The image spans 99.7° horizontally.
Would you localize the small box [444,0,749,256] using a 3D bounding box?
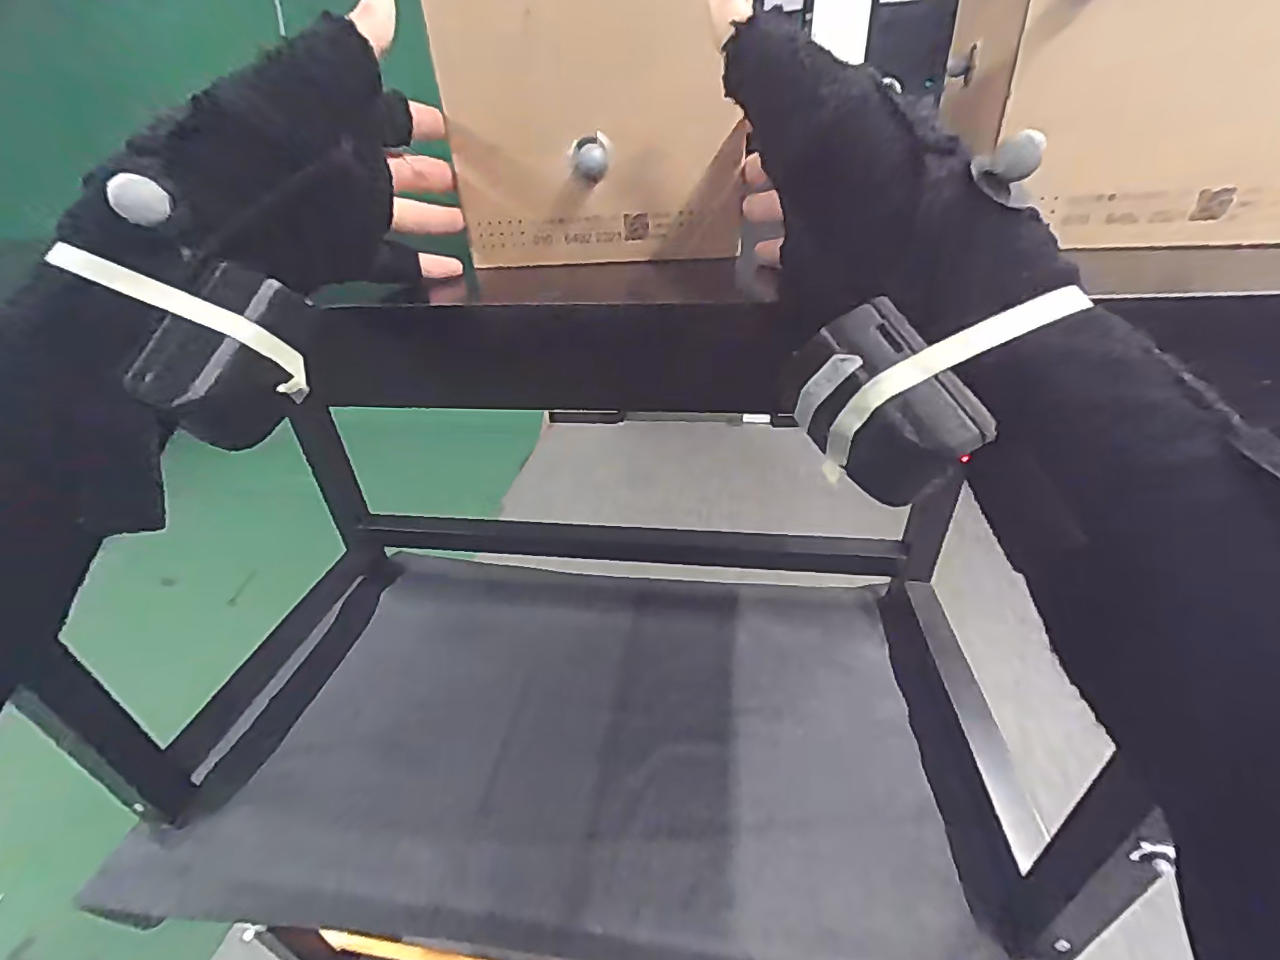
[{"bbox_3d":[-0.018,-0.255,0.368,0.168,0.176,0.179,-1,32,5],"label":"small box"}]
